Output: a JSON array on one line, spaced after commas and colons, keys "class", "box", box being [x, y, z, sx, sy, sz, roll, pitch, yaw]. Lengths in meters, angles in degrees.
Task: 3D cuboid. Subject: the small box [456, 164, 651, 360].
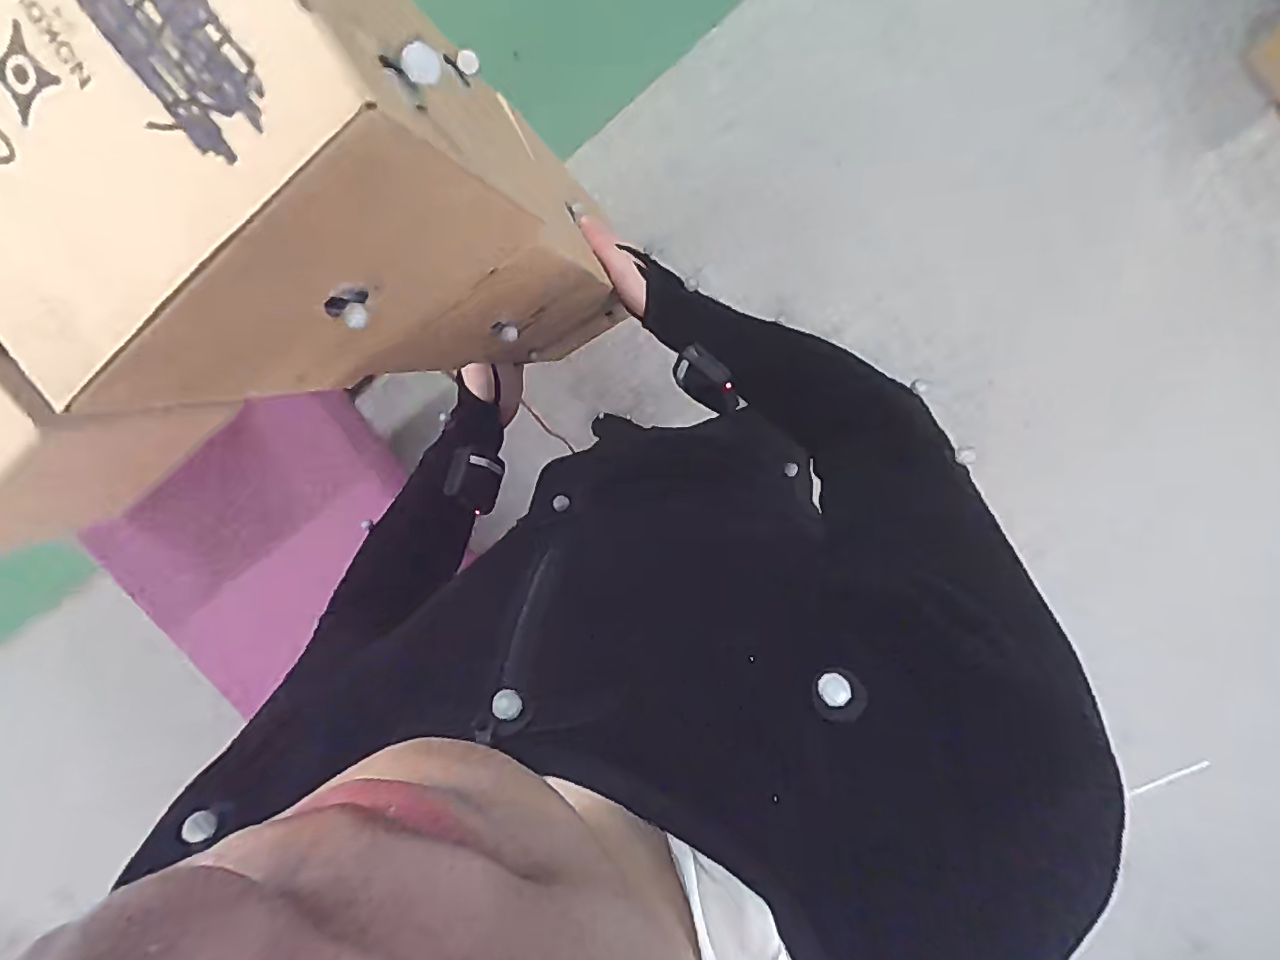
[{"class": "small box", "box": [-0.102, -0.272, 0.725, 0.179, 0.176, 0.168, -27, 98, 13]}]
